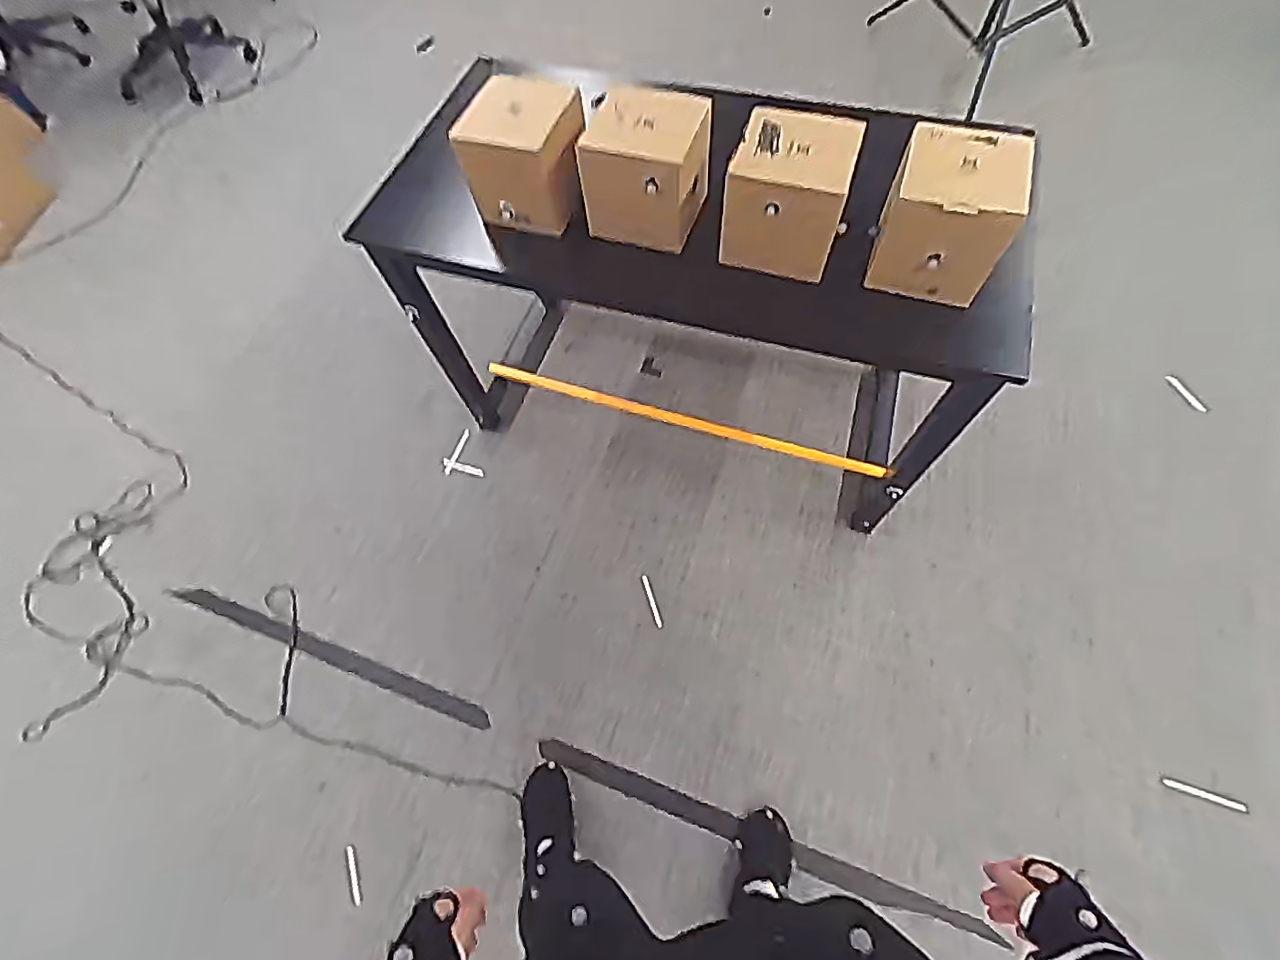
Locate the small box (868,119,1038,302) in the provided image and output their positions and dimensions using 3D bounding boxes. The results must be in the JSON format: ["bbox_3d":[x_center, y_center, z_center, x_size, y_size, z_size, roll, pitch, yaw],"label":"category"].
[{"bbox_3d":[0.465,-0.404,0.827,0.168,0.176,0.179,17,68,11],"label":"small box"}]

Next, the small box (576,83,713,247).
[{"bbox_3d":[0.013,-0.527,0.919,0.179,0.176,0.168,17,67,12],"label":"small box"}]

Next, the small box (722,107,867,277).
[{"bbox_3d":[0.239,-0.456,0.870,0.179,0.176,0.168,17,67,11],"label":"small box"}]

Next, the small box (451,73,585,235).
[{"bbox_3d":[-0.198,-0.573,0.958,0.168,0.176,0.179,15,67,12],"label":"small box"}]
